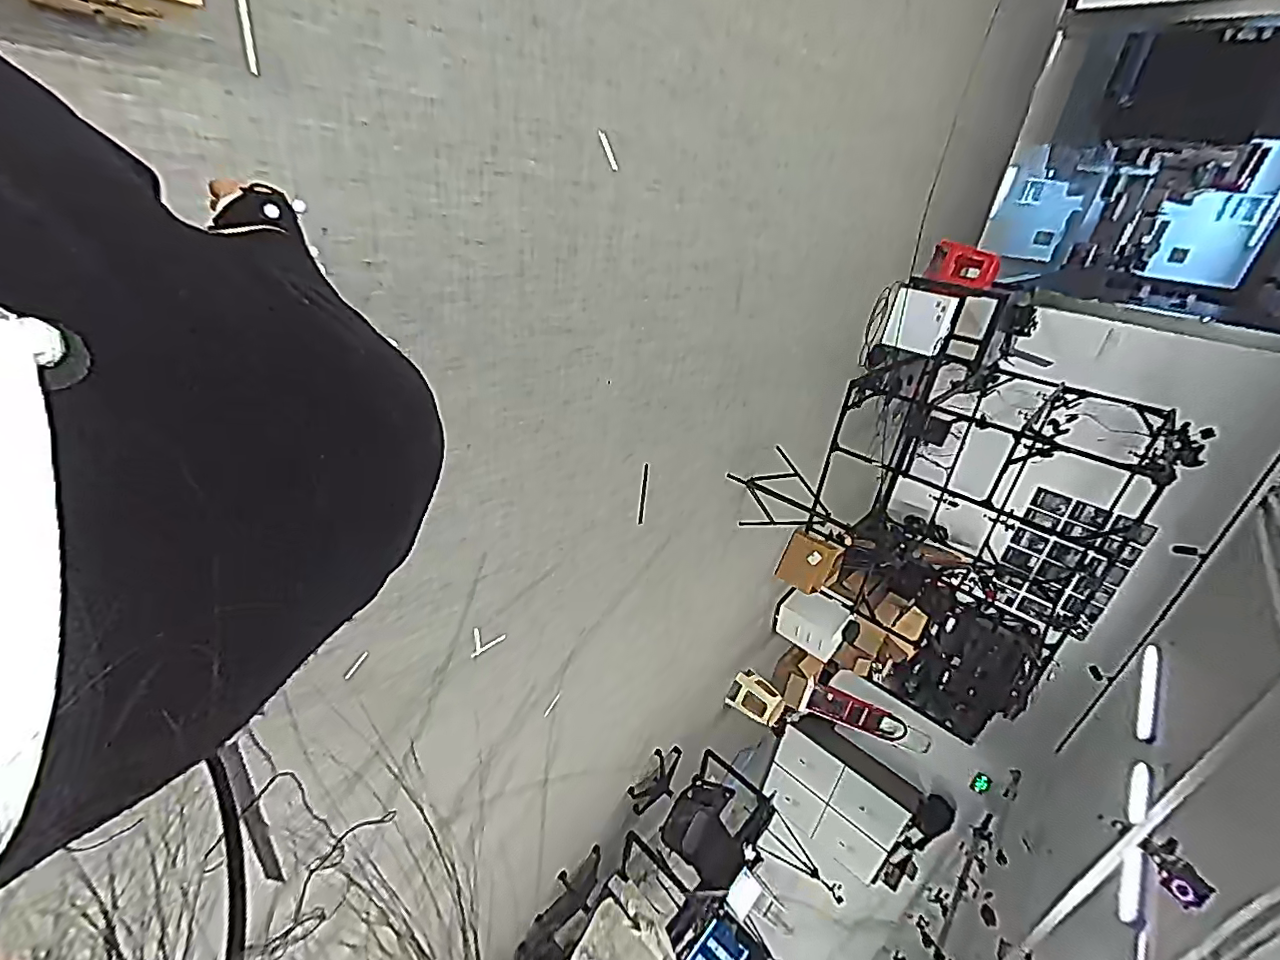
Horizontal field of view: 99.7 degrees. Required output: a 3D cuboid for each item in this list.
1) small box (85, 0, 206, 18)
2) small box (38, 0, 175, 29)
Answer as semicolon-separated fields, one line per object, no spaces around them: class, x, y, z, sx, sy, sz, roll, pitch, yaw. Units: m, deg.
small box;-0.746;-0.765;0.743;0.179;0.176;0.168;-25;132;-44
small box;-0.864;-0.831;0.838;0.168;0.176;0.179;-23;132;-45
